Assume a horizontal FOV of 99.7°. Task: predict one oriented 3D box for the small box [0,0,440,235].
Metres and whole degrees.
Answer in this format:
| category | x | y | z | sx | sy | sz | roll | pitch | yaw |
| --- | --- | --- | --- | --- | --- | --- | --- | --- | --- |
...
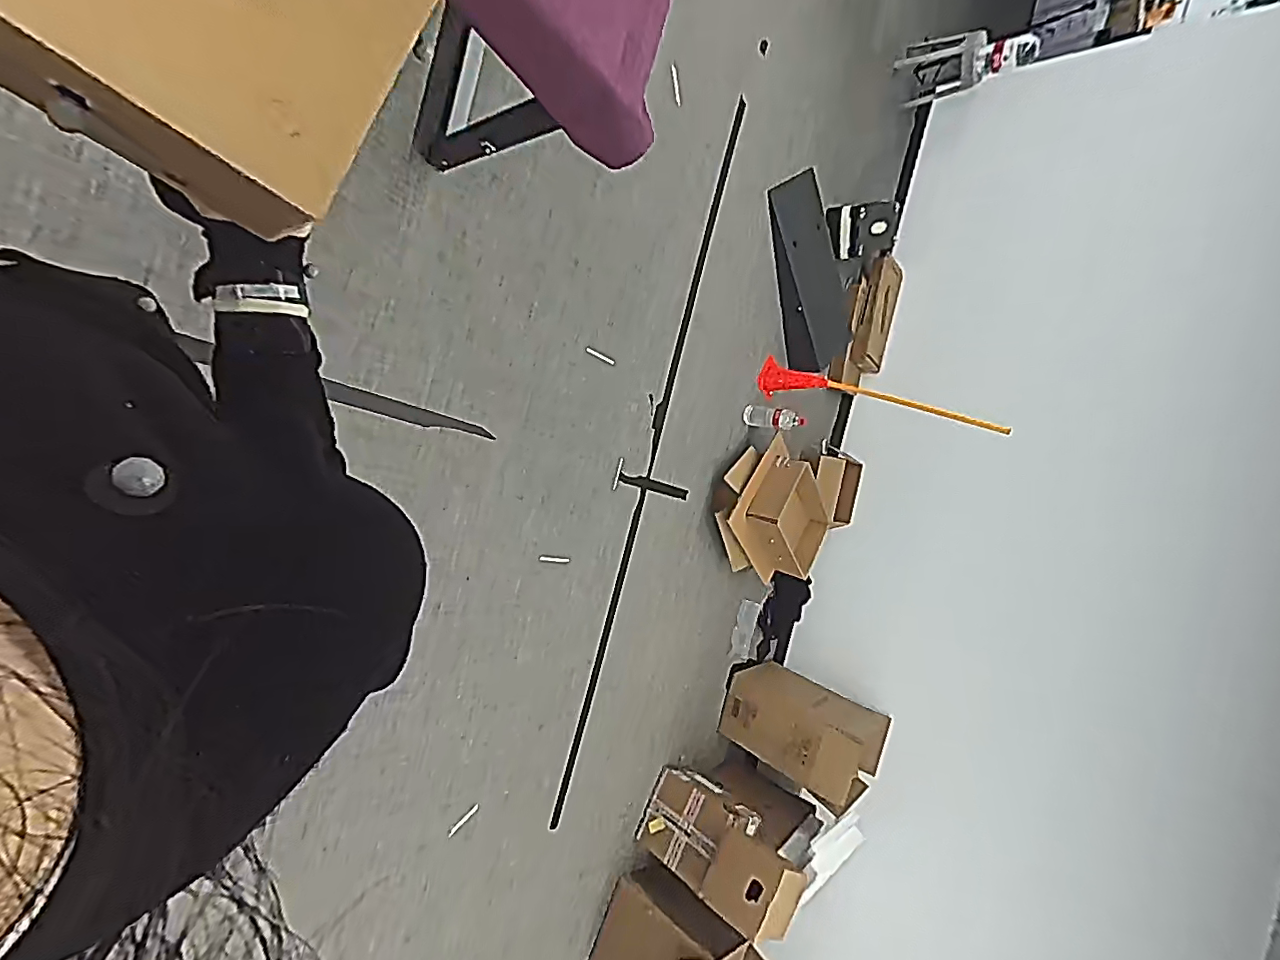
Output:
| category | x | y | z | sx | sy | sz | roll | pitch | yaw |
| --- | --- | --- | --- | --- | --- | --- | --- | --- | --- |
| small box | -0.244 | -0.266 | 0.308 | 0.168 | 0.176 | 0.179 | 28 | 84 | -44 |
